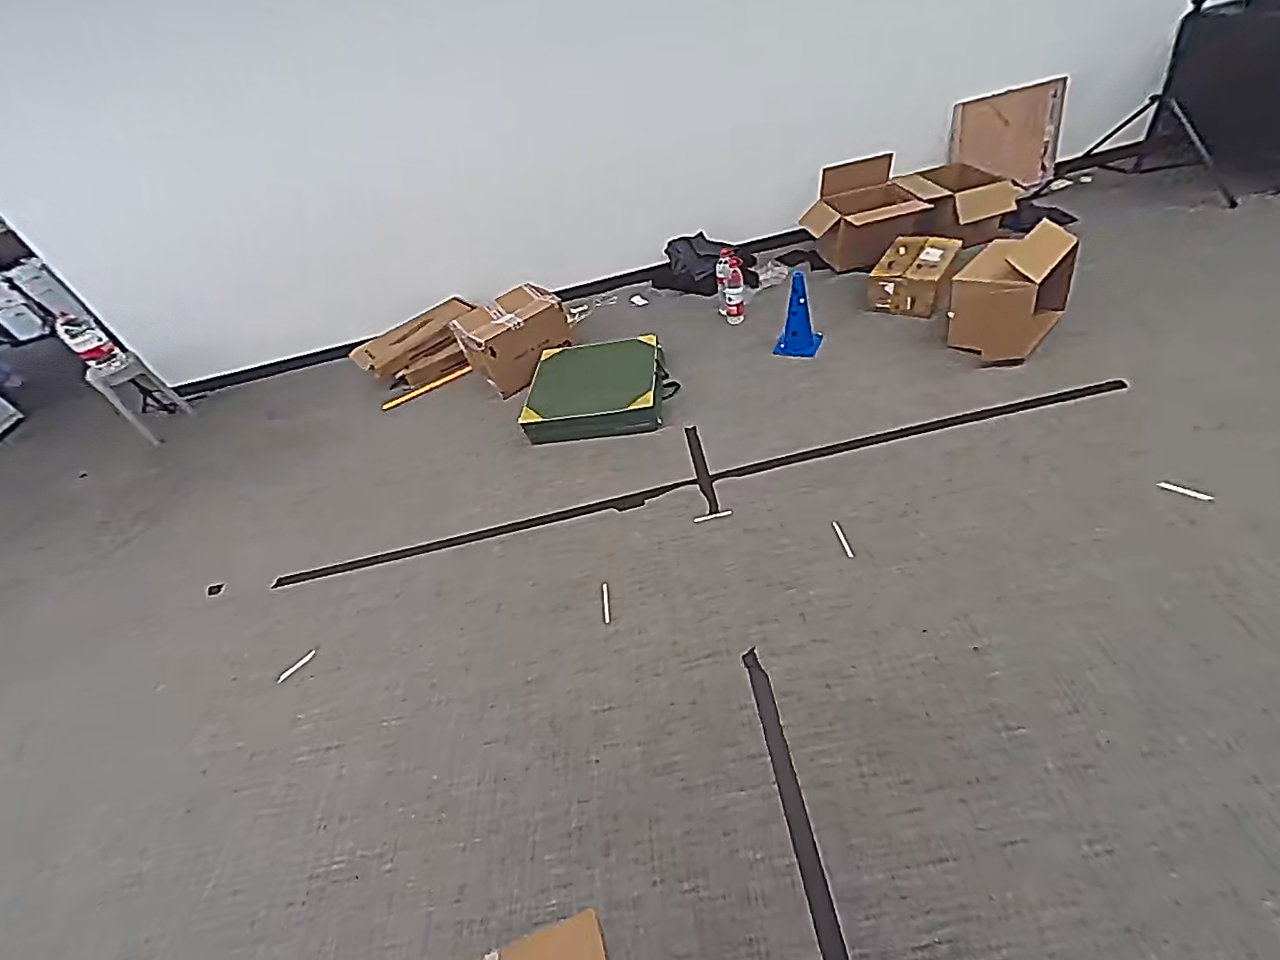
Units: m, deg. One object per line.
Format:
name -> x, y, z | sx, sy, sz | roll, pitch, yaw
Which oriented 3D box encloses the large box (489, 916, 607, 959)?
large box -> -0.128, 0.837, 0.598 | 0.320, 0.320, 0.408 | -14, 1, -13
